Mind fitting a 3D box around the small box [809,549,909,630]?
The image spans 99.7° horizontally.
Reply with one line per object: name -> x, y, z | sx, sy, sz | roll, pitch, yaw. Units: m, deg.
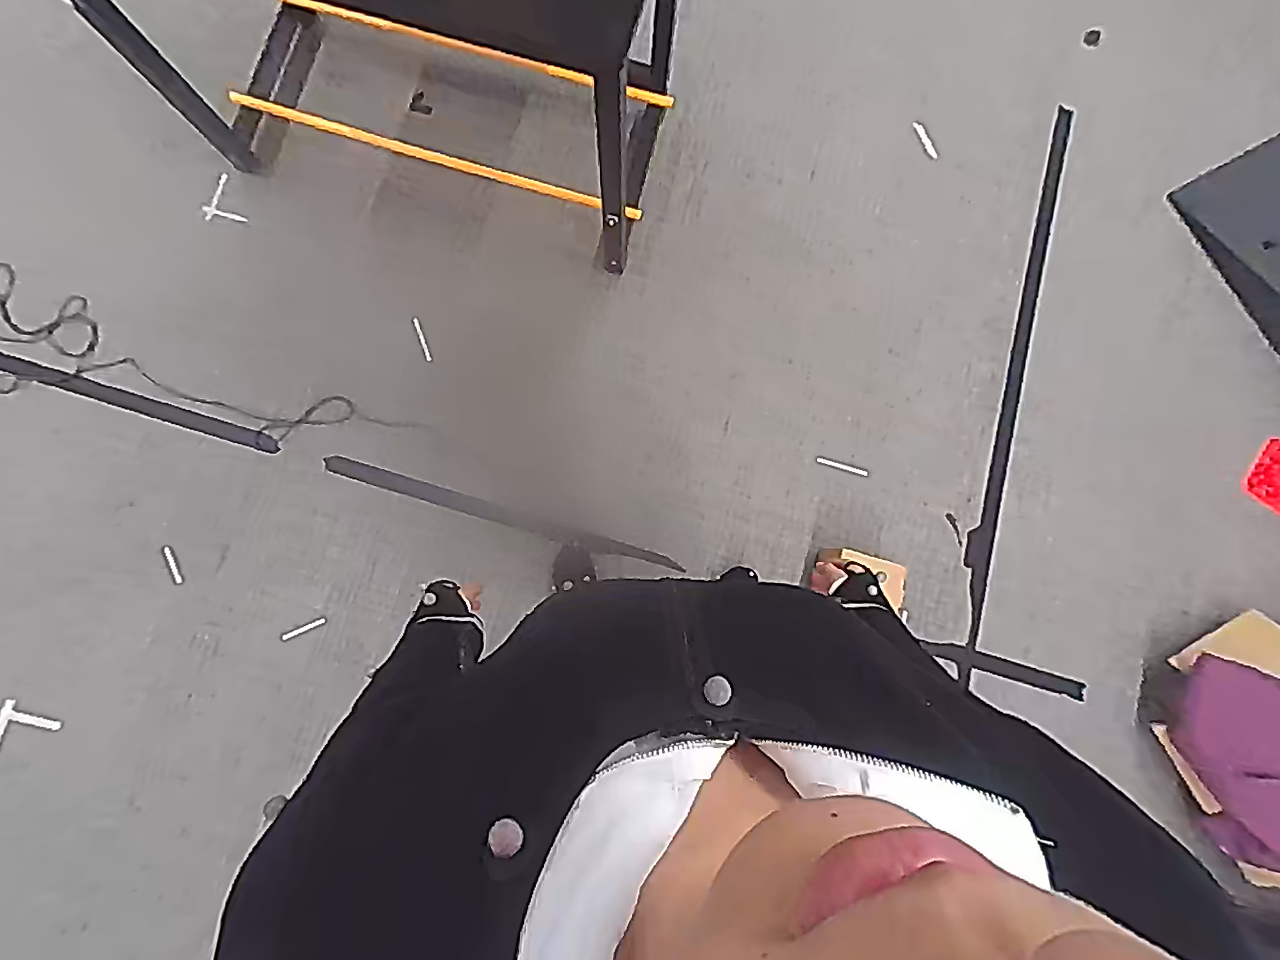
small box -> 0.574, 0.284, 1.436 | 0.179, 0.176, 0.168 | 16, 81, 1
